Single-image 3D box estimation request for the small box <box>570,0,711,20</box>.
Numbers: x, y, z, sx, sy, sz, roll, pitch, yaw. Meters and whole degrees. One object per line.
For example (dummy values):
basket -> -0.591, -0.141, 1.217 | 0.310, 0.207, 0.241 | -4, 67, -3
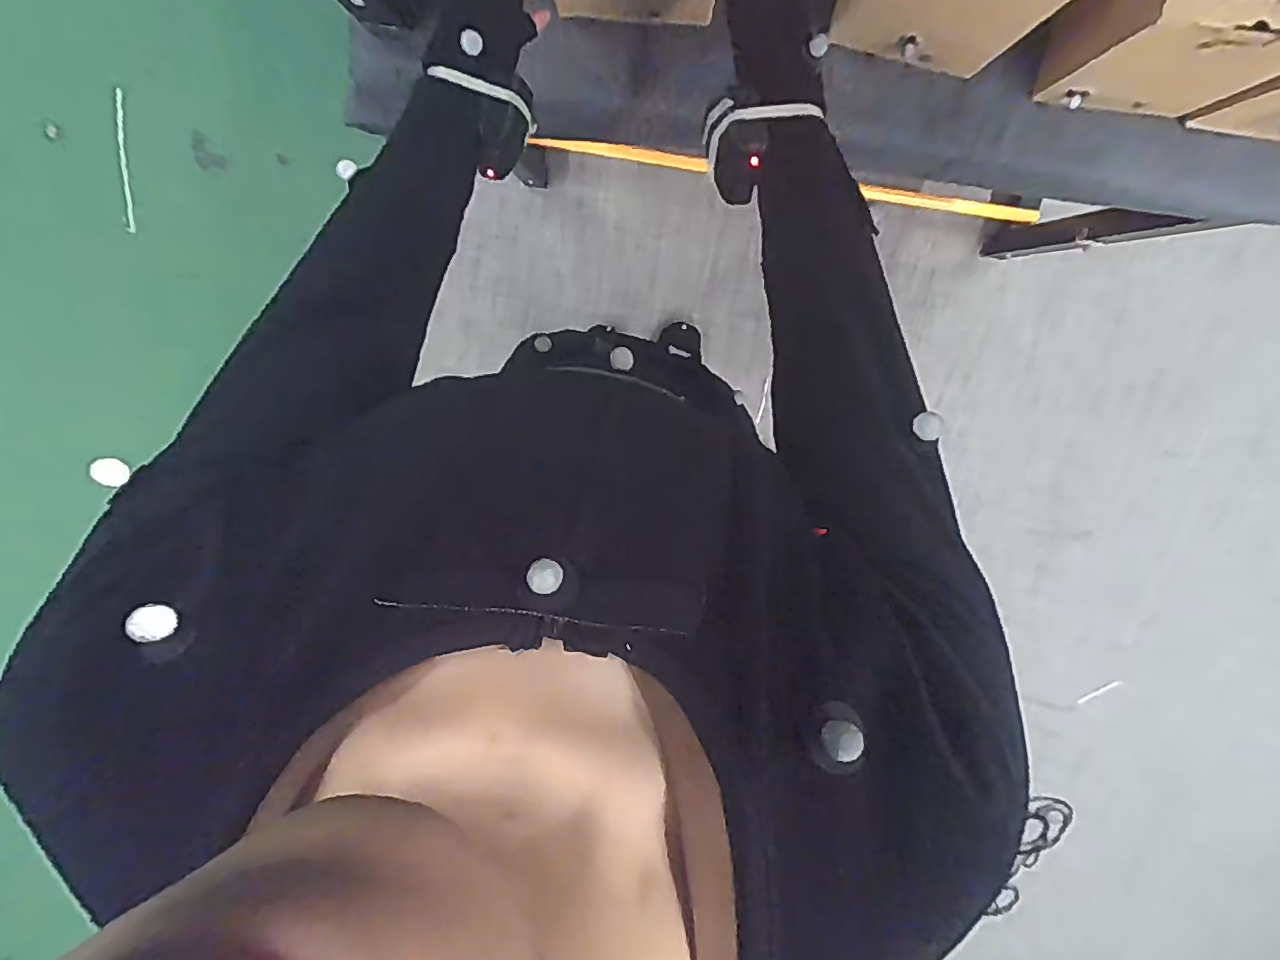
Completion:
small box -> -0.004, -0.554, 0.481 | 0.168, 0.176, 0.179 | 4, 107, 0
